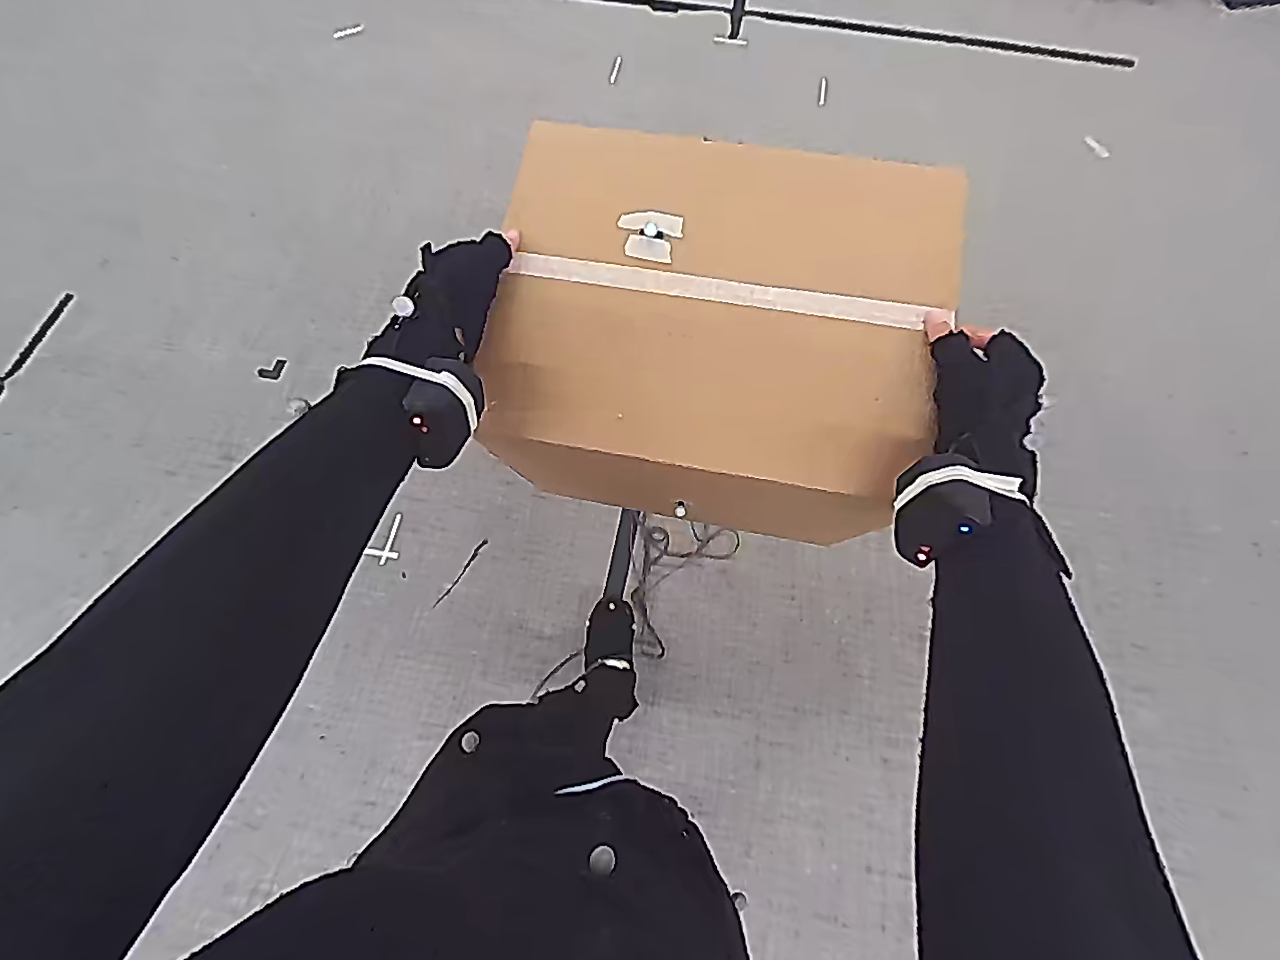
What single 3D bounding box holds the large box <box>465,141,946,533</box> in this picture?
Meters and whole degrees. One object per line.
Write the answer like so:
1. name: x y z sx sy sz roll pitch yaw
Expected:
1. large box: 0.076 -0.133 0.638 0.408 0.320 0.320 10 78 7
